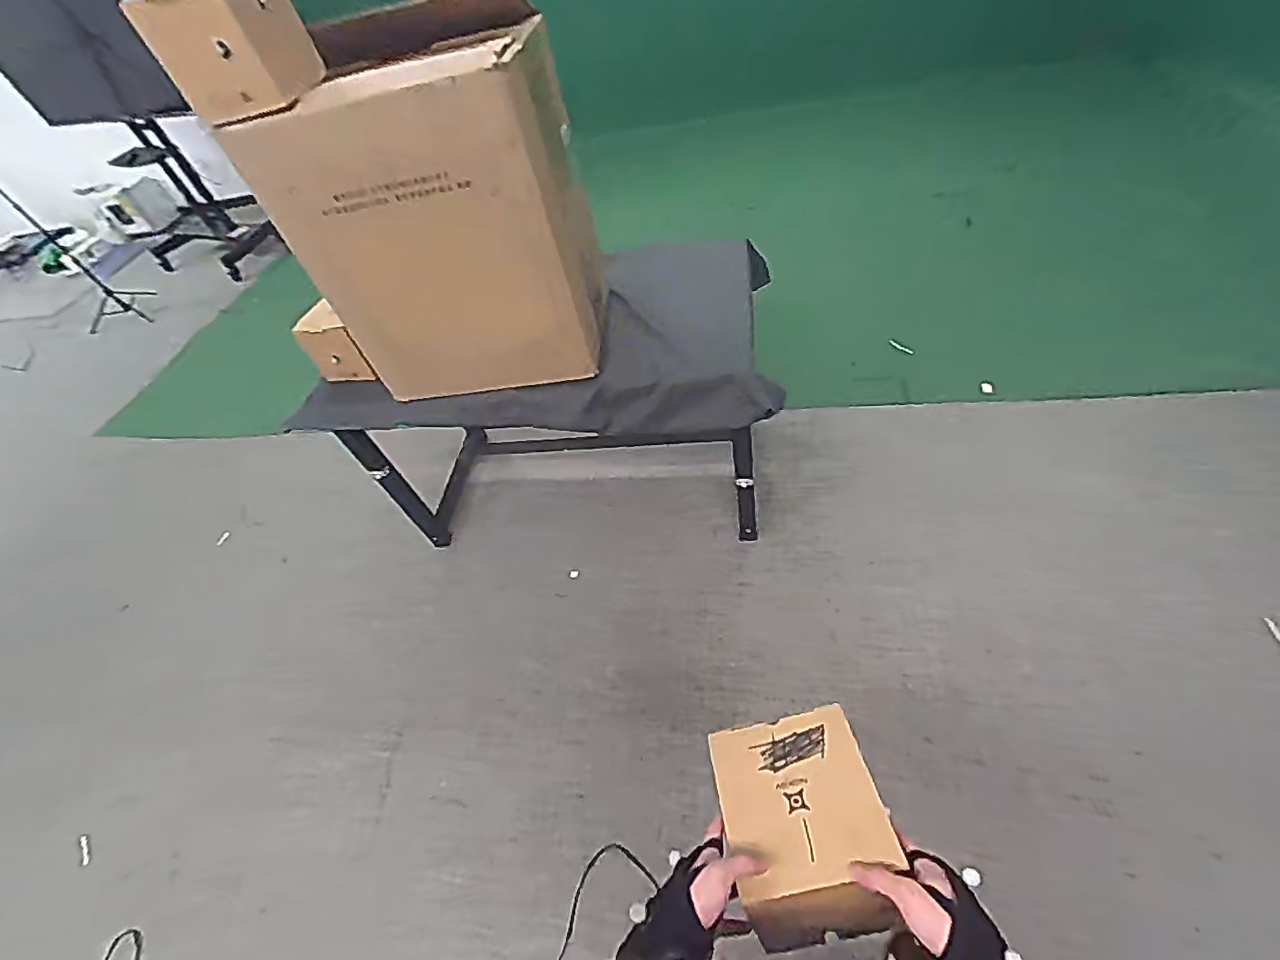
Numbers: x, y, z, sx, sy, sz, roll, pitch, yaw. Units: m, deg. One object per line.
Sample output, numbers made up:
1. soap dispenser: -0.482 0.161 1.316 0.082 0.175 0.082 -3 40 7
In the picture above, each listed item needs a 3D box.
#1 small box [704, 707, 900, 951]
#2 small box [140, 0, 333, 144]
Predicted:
1. small box: 0.186 0.409 0.638 0.168 0.176 0.179 -18 35 6
2. small box: -0.673 -0.705 0.931 0.168 0.176 0.179 -5 49 11
